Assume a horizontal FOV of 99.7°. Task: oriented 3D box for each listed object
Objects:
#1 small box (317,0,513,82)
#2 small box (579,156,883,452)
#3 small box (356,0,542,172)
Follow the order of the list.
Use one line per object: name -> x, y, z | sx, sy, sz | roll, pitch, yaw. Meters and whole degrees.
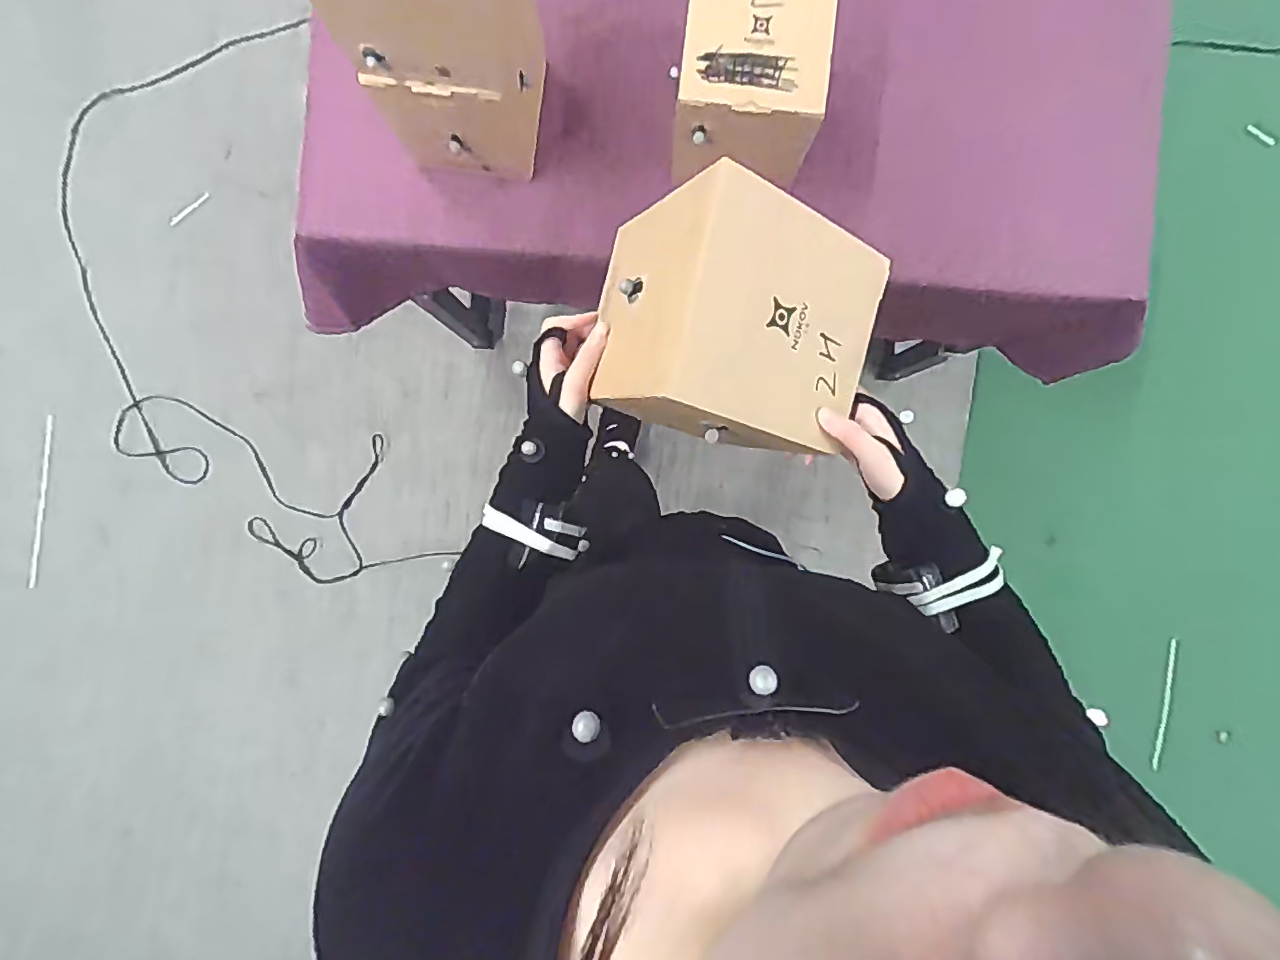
small box -> -0.219, -0.526, 0.511 | 0.168, 0.176, 0.179 | 8, 89, -1
small box -> 0.067, -0.131, 0.470 | 0.179, 0.176, 0.168 | 15, 91, -29
small box -> -0.224, -0.521, 0.676 | 0.168, 0.176, 0.179 | 8, 91, -2
